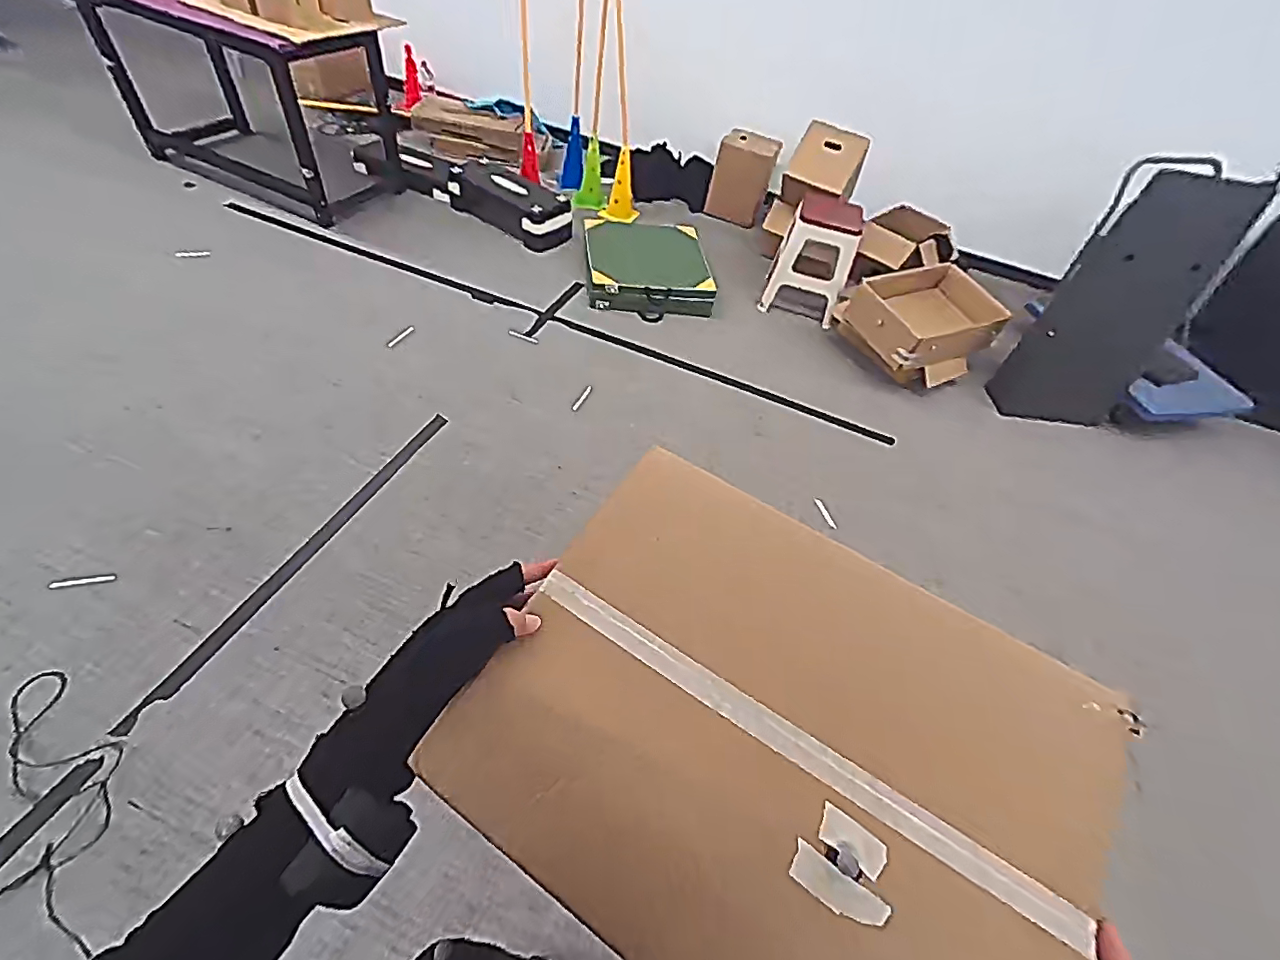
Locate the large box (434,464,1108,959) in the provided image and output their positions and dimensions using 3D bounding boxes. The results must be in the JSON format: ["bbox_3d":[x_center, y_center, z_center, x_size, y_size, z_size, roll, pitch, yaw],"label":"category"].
[{"bbox_3d":[0.098,0.258,0.517,0.408,0.320,0.320,30,64,17],"label":"large box"}]
